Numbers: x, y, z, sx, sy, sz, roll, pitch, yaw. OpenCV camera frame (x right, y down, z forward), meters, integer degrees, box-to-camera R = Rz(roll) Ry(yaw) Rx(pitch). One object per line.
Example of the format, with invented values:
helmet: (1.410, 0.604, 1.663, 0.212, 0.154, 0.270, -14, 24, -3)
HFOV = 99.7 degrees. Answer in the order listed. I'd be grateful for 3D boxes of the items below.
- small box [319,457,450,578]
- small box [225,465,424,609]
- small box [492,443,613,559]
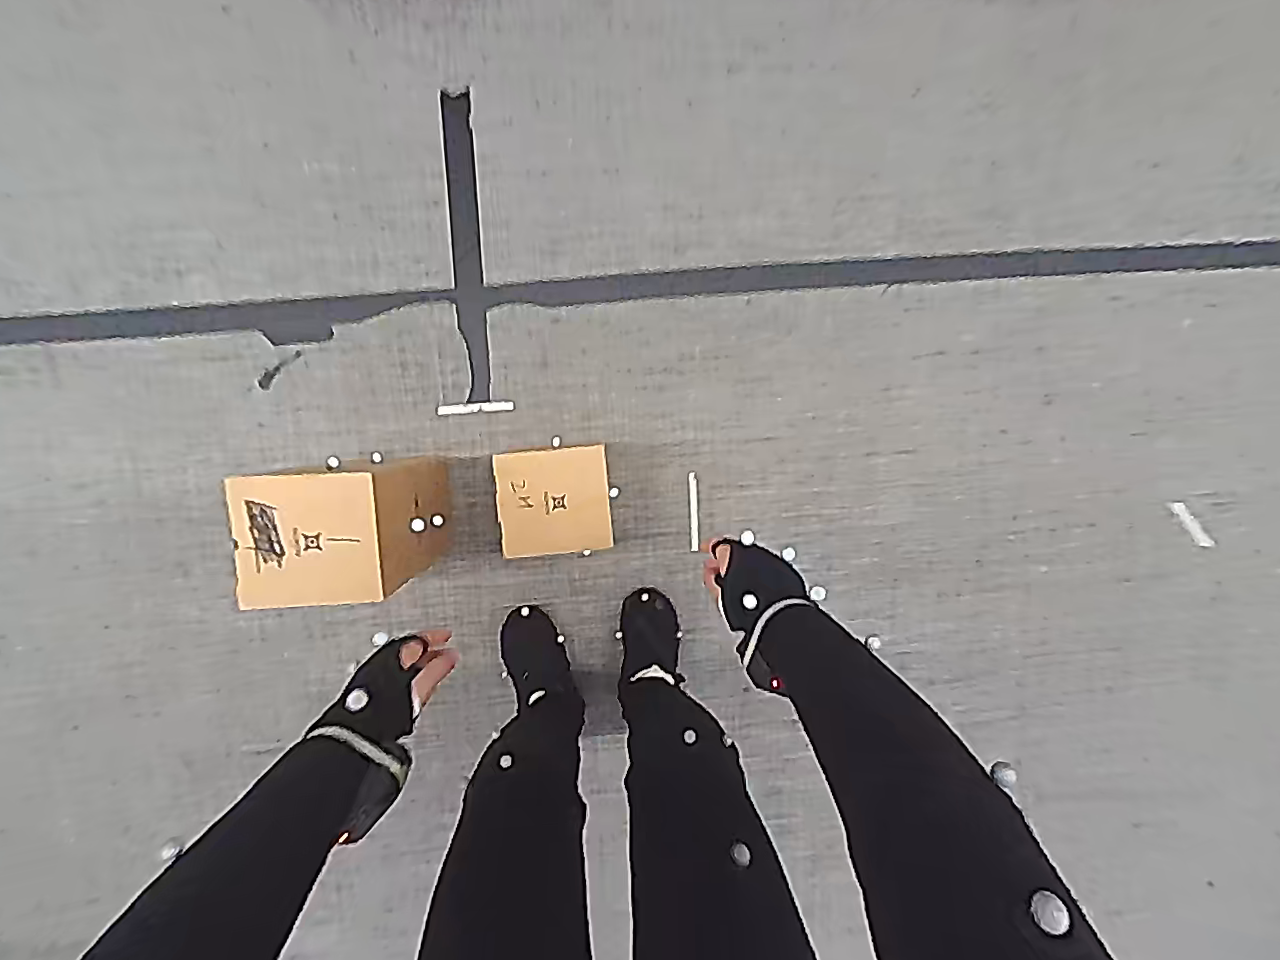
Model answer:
small box: (-0.426, 0.057, 0.903, 0.168, 0.176, 0.179, -2, 97, -3)
small box: (-0.414, 0.068, 0.738, 0.179, 0.176, 0.168, -2, 96, -4)
small box: (-0.141, 0.028, 0.919, 0.179, 0.176, 0.168, -5, 97, -3)
